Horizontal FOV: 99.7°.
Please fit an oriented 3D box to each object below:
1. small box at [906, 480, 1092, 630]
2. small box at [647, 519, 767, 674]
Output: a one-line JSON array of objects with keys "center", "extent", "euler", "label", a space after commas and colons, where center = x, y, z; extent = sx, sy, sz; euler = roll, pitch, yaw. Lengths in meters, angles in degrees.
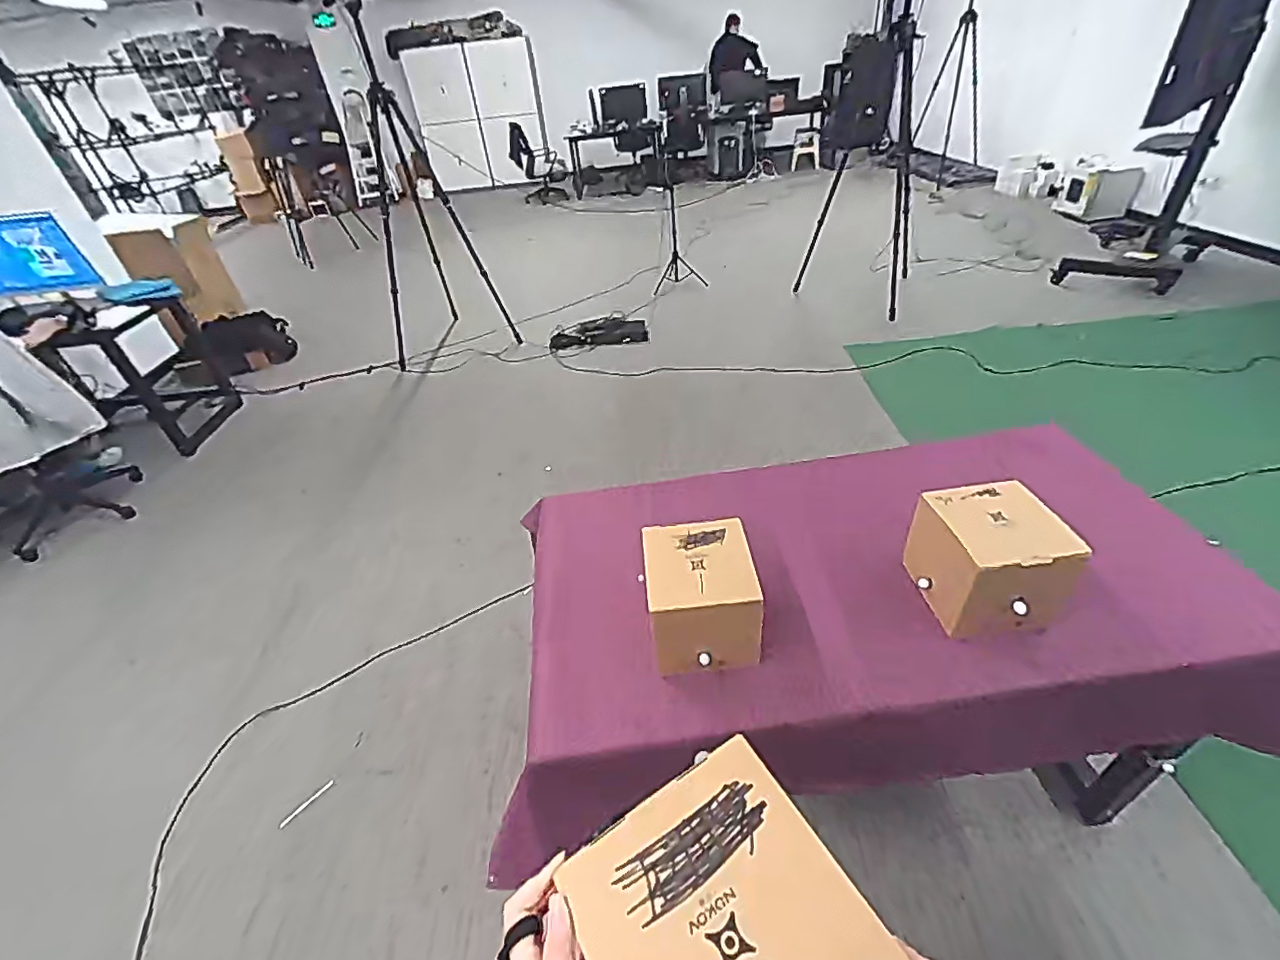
[{"center": [0.563, 0.127, 0.879], "extent": [0.168, 0.176, 0.179], "euler": [-7, 39, 0], "label": "small box"}, {"center": [0.101, 0.187, 0.876], "extent": [0.168, 0.176, 0.179], "euler": [-6, 39, 1], "label": "small box"}]
